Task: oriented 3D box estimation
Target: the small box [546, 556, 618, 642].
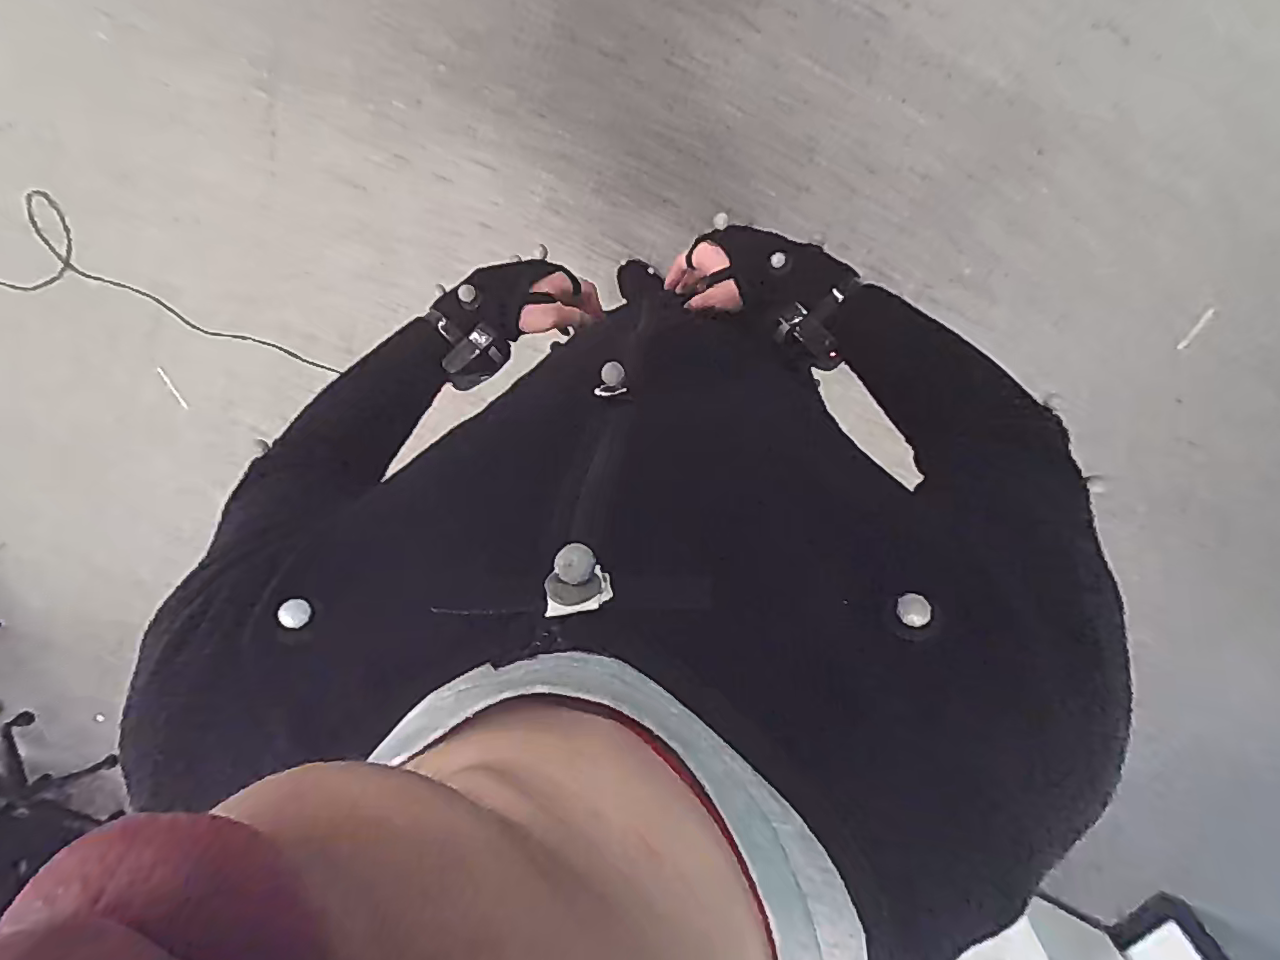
[{"bbox_3d":[-0.178,0.372,1.726,0.168,0.176,0.179,27,112,-6],"label":"small box"}]
